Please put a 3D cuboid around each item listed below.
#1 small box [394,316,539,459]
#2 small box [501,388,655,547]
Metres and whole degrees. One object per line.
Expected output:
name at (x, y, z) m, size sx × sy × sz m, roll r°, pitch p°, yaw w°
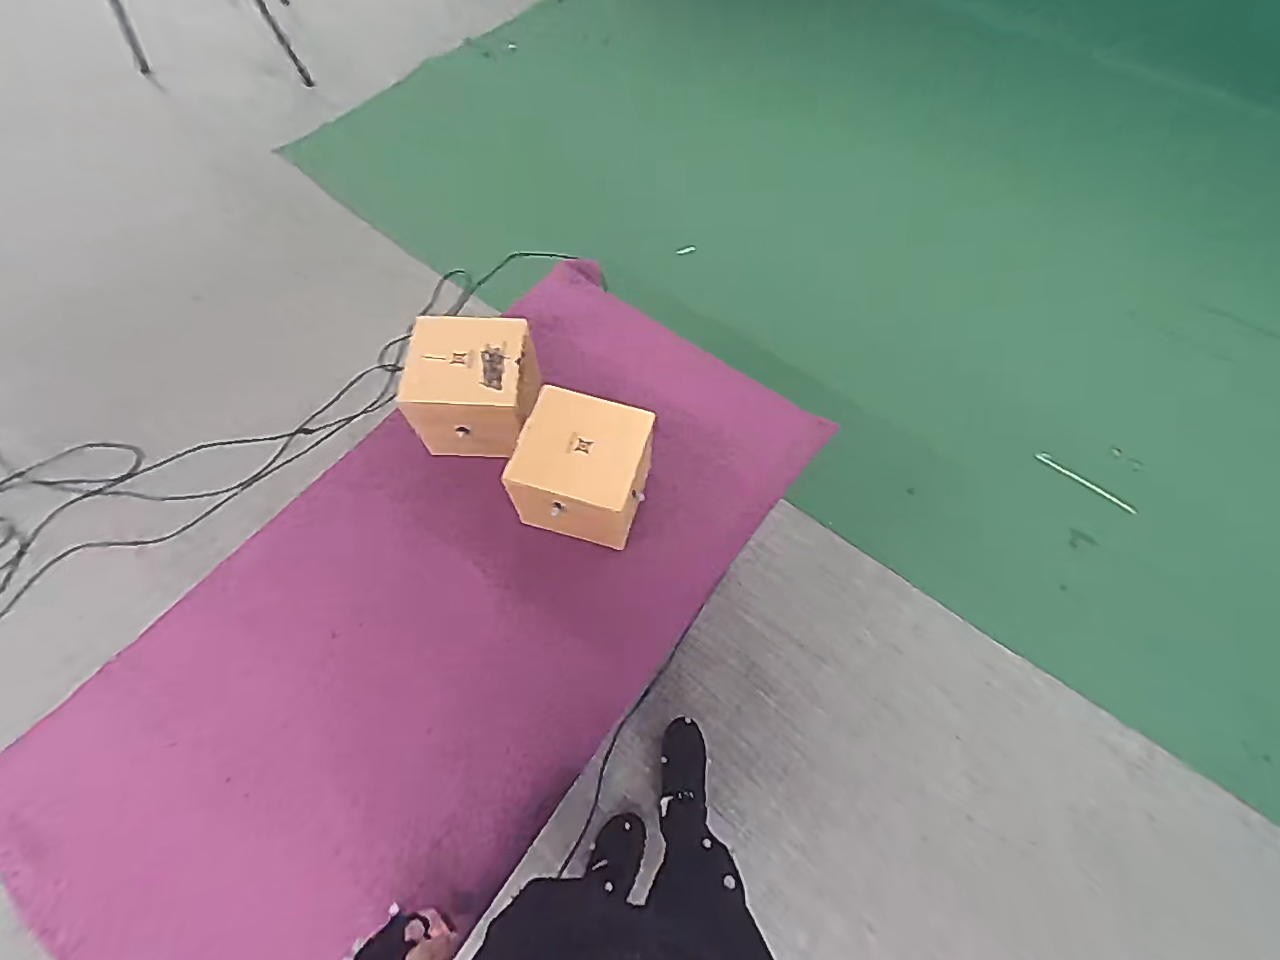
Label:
small box at (-0.268, -0.144, 0.885) m, size 0.179 × 0.176 × 0.168 m, roll 2°, pitch 65°, yaw 0°
small box at (-0.085, -0.010, 0.829) m, size 0.179 × 0.176 × 0.168 m, roll 15°, pitch 65°, yaw 7°
